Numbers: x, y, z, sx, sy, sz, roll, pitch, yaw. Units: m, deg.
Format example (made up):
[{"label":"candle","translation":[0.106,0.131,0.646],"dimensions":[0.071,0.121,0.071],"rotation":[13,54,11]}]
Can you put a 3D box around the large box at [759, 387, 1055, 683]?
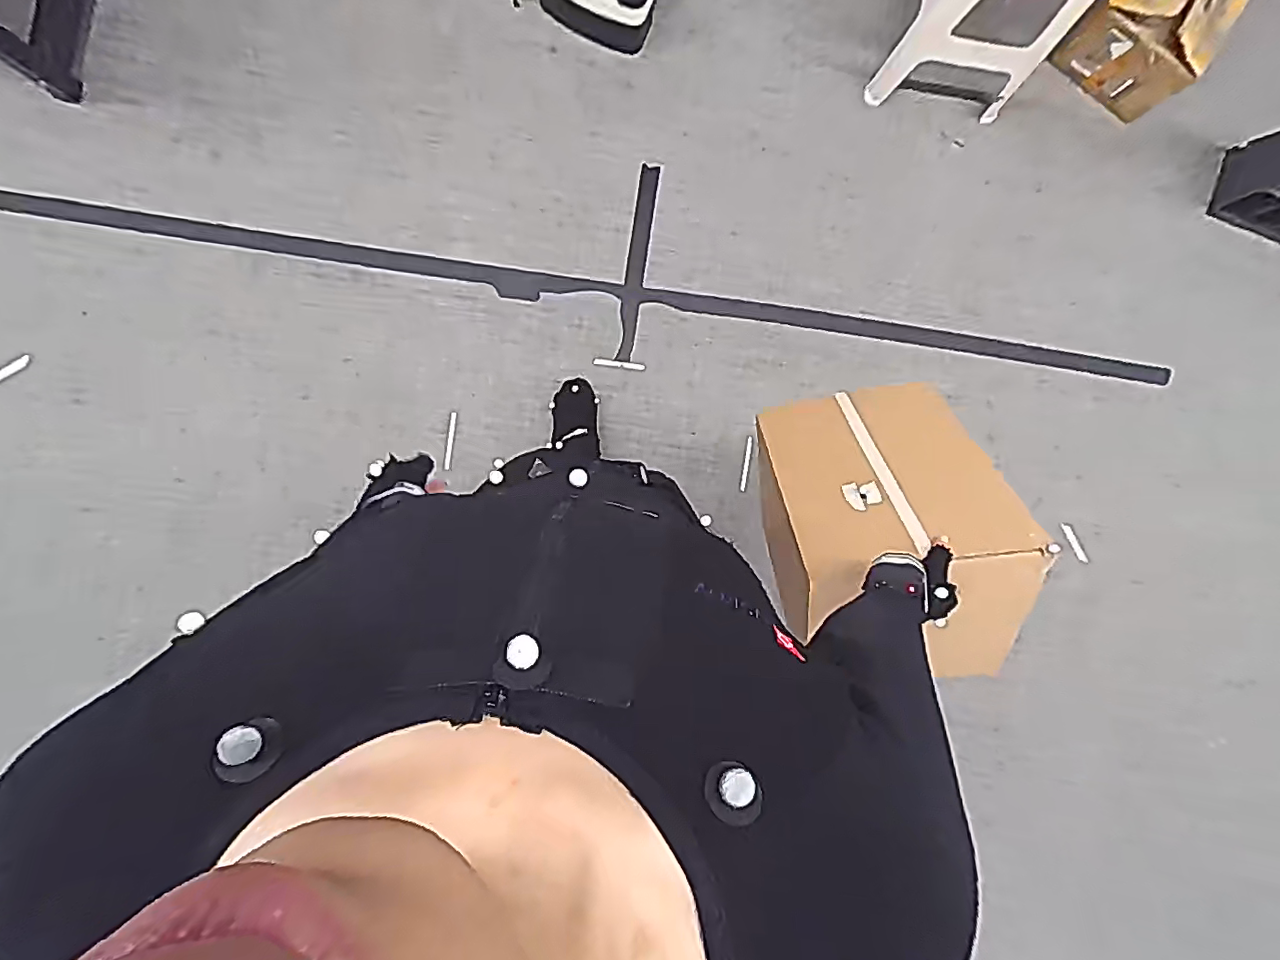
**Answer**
[{"label":"large box","translation":[0.407,0.089,0.961],"dimensions":[0.320,0.408,0.320],"rotation":[-9,132,5]}]
